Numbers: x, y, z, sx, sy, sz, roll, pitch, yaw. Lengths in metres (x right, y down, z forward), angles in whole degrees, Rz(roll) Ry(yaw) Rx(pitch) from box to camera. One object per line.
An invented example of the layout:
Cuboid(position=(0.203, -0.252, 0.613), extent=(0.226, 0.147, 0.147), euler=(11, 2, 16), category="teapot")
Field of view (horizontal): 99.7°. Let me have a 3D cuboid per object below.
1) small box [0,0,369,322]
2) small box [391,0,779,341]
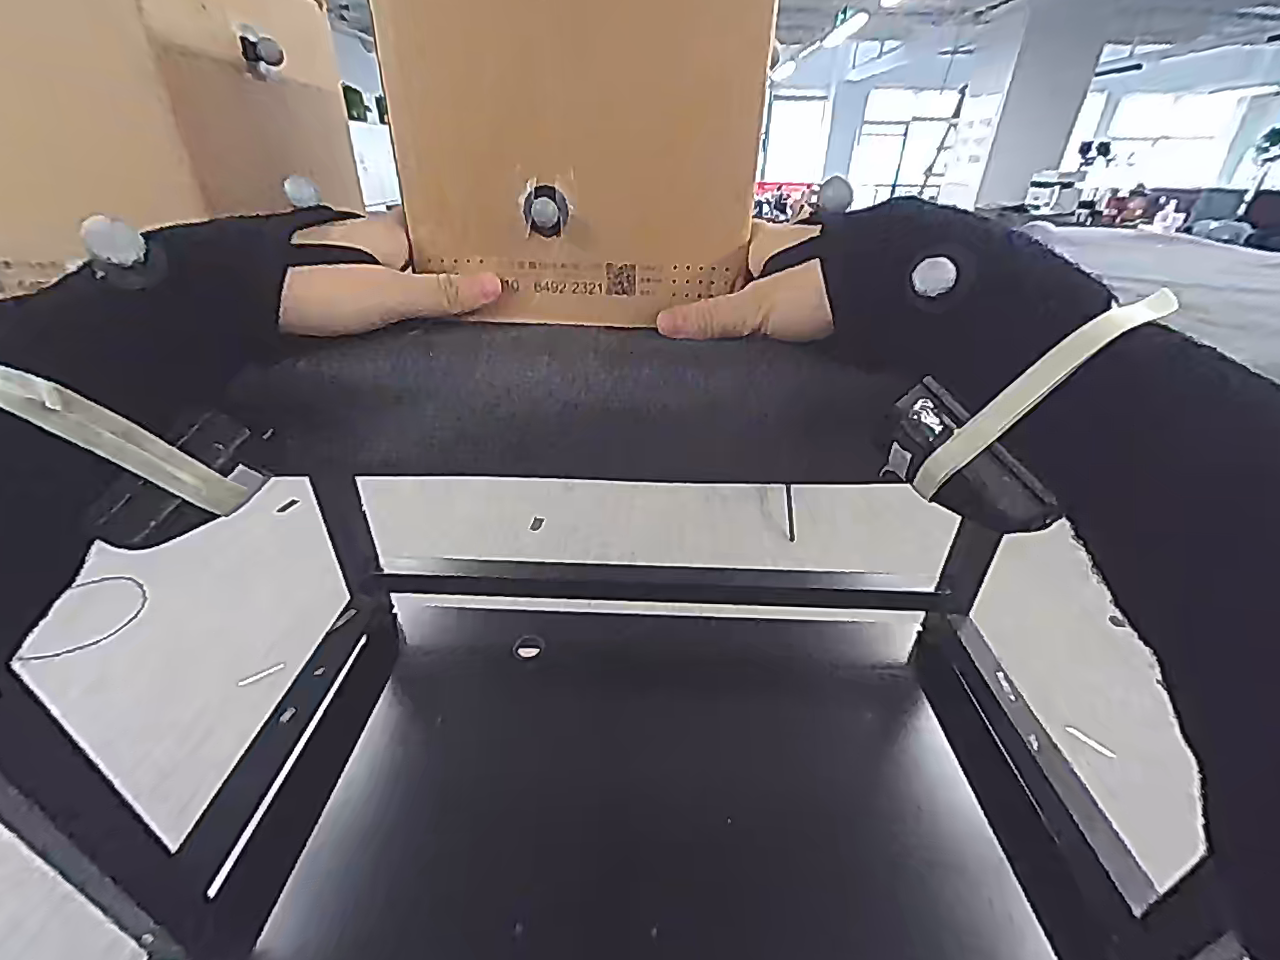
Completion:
Cuboid(position=(-0.283, -0.193, 0.314), extent=(0.168, 0.176, 0.179), euler=(1, 28, -2), category="small box")
Cuboid(position=(-0.026, -0.188, 0.315), extent=(0.168, 0.176, 0.179), euler=(2, 29, 0), category="small box")
